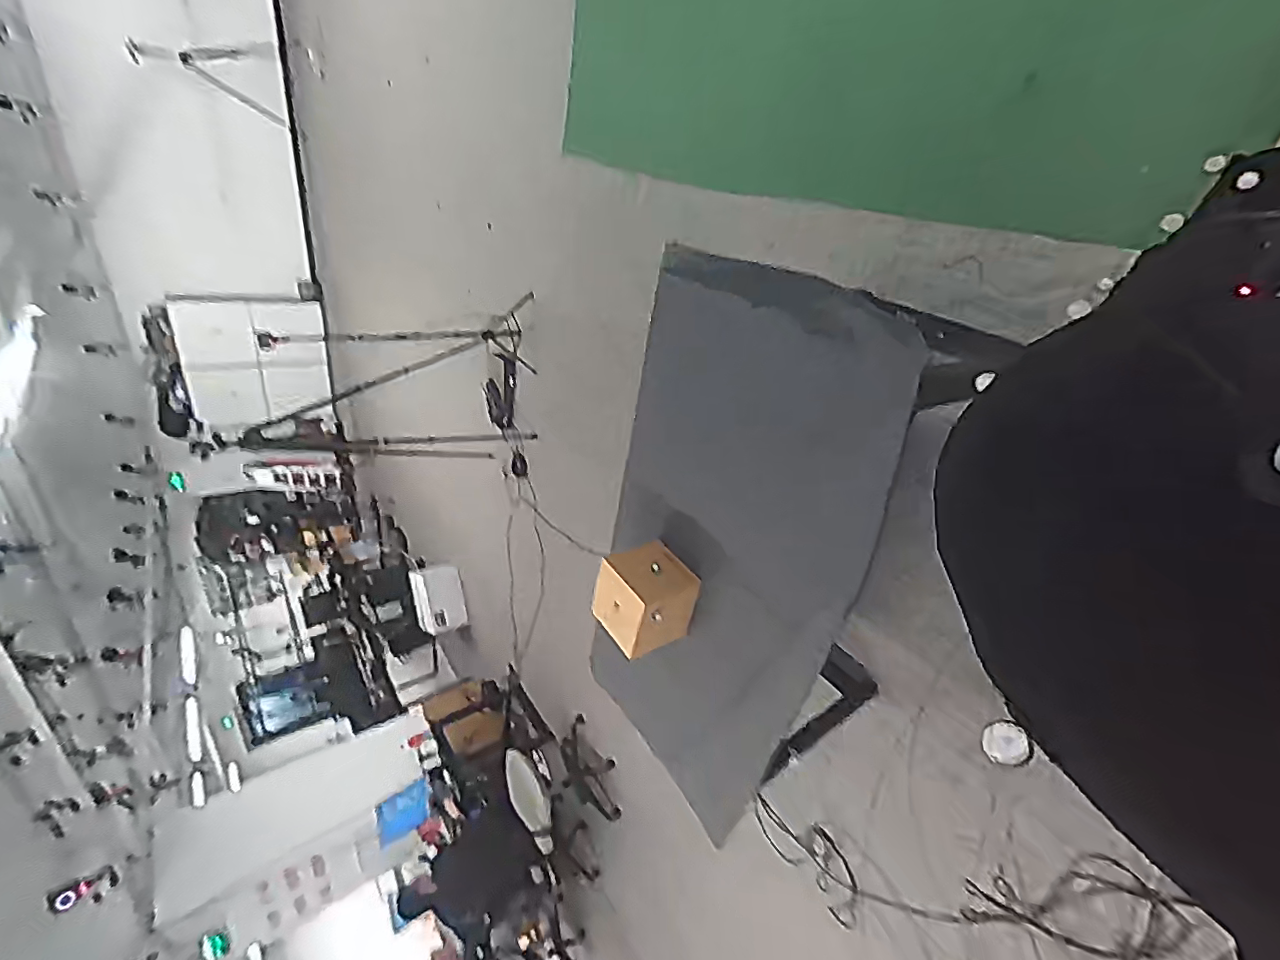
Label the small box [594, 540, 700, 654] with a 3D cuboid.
[{"bbox_3d":[0.018,0.264,1.260,0.168,0.176,0.179,42,132,39],"label":"small box"}]
